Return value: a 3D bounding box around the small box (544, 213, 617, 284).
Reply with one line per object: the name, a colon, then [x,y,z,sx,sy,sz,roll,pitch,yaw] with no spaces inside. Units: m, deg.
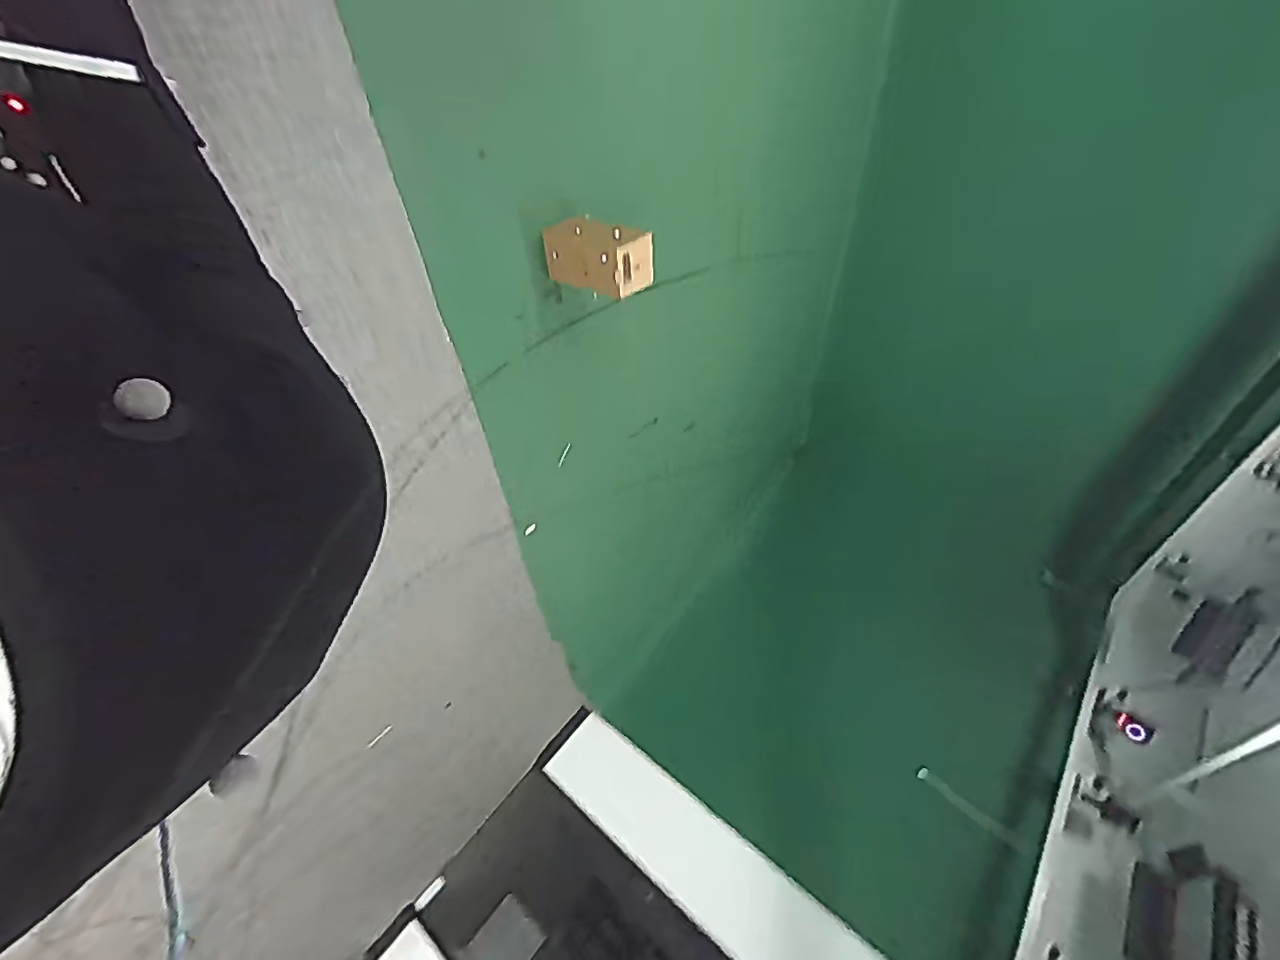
small box: [-0.201,-0.801,1.859,0.179,0.176,0.168,-41,144,-31]
